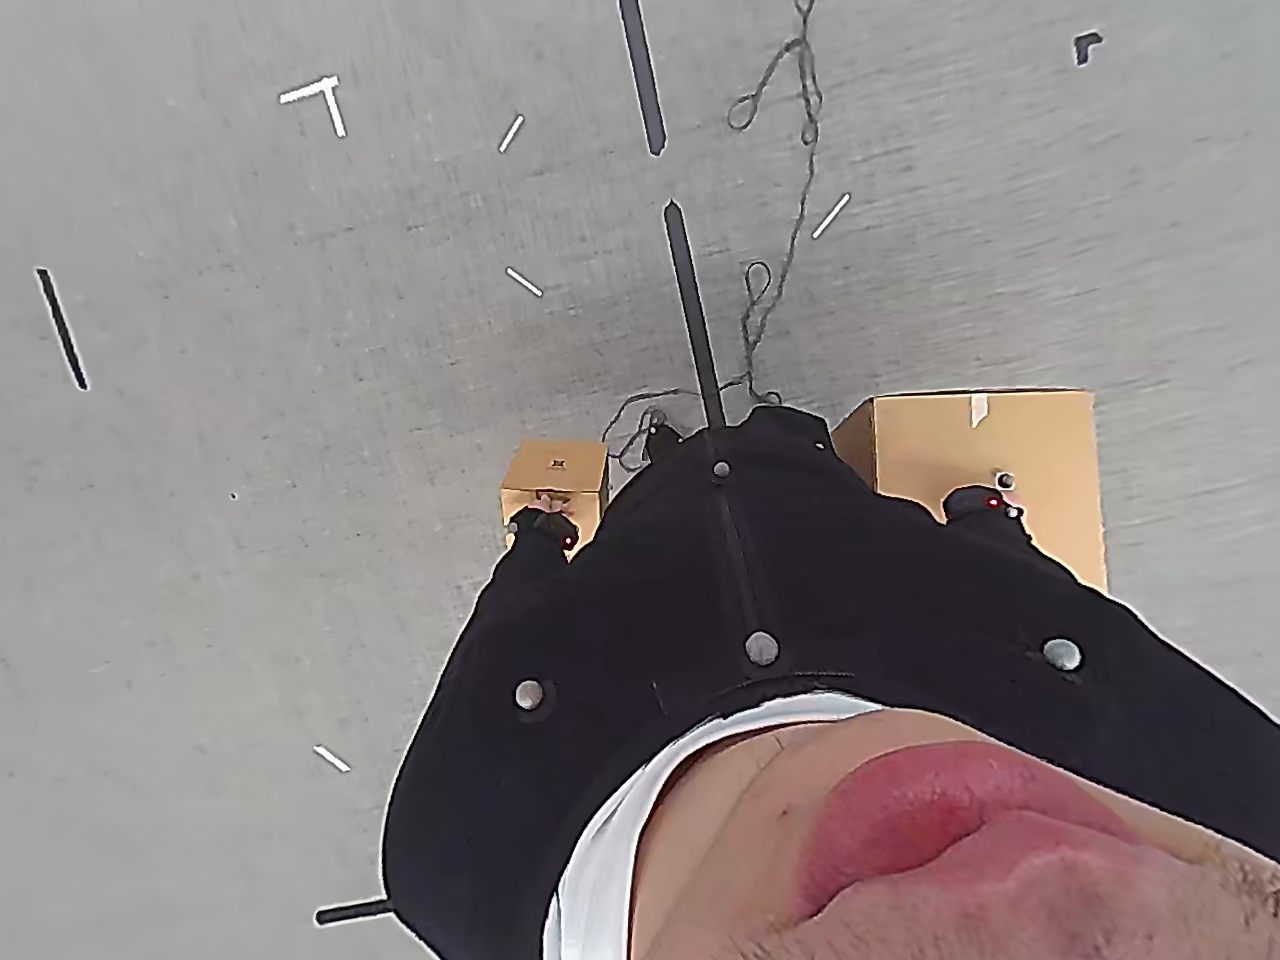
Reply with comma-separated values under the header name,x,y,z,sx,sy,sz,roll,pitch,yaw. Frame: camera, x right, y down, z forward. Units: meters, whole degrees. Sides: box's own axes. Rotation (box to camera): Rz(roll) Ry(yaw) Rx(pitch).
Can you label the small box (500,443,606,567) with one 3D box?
name,x,y,z,sx,sy,sz,roll,pitch,yaw
small box,-0.151,0.046,1.005,0.168,0.179,0.176,3,120,0
